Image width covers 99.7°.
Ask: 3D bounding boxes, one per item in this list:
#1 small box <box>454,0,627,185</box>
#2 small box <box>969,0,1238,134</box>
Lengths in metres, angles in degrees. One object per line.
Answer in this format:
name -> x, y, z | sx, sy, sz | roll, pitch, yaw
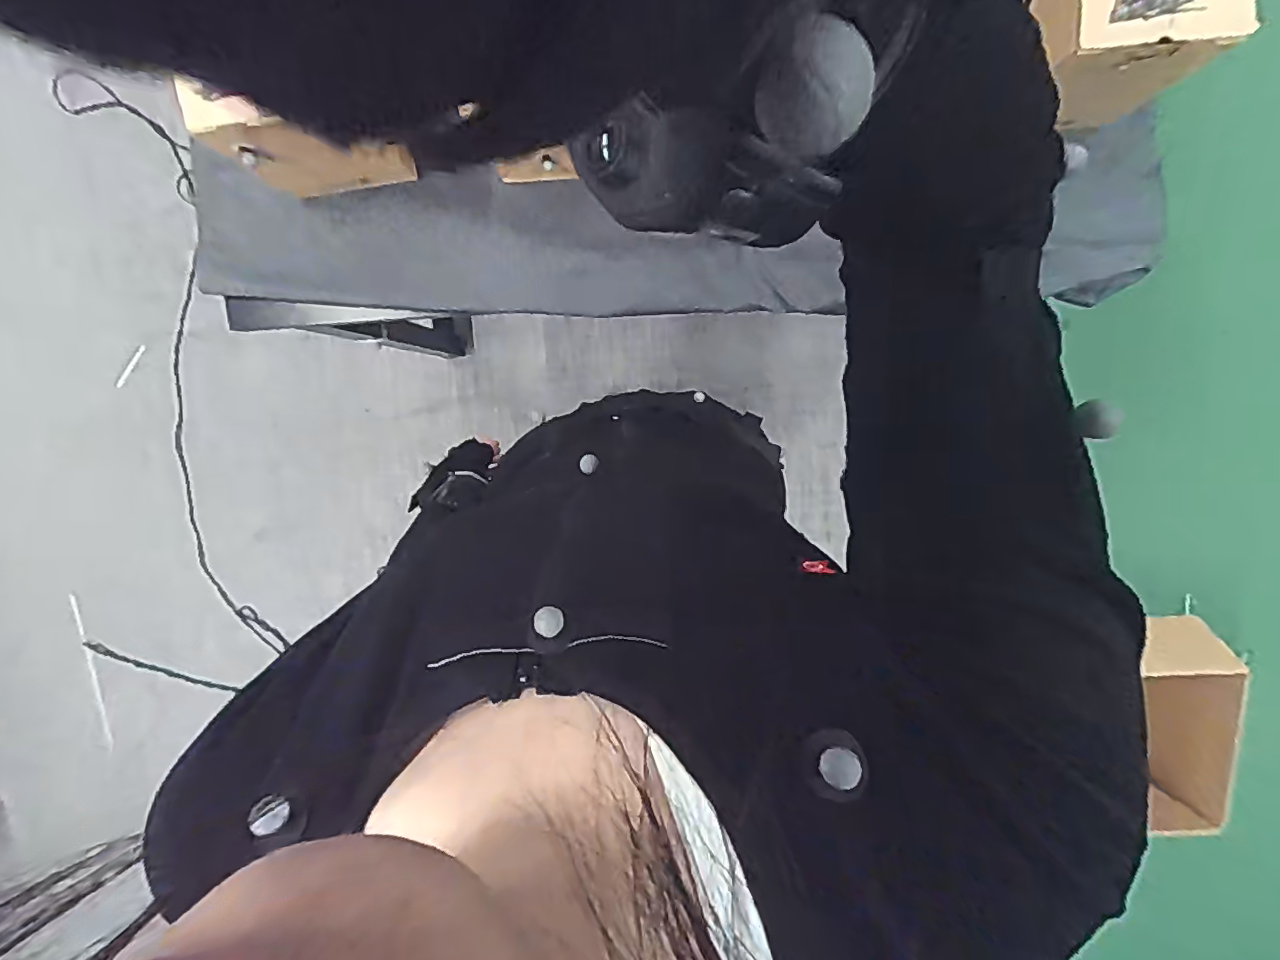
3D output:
small box -> -0.101, -0.459, 0.606 | 0.168, 0.176, 0.179 | -3, 99, 0
small box -> 0.494, -0.510, 0.598 | 0.168, 0.176, 0.179 | -4, 97, 0
